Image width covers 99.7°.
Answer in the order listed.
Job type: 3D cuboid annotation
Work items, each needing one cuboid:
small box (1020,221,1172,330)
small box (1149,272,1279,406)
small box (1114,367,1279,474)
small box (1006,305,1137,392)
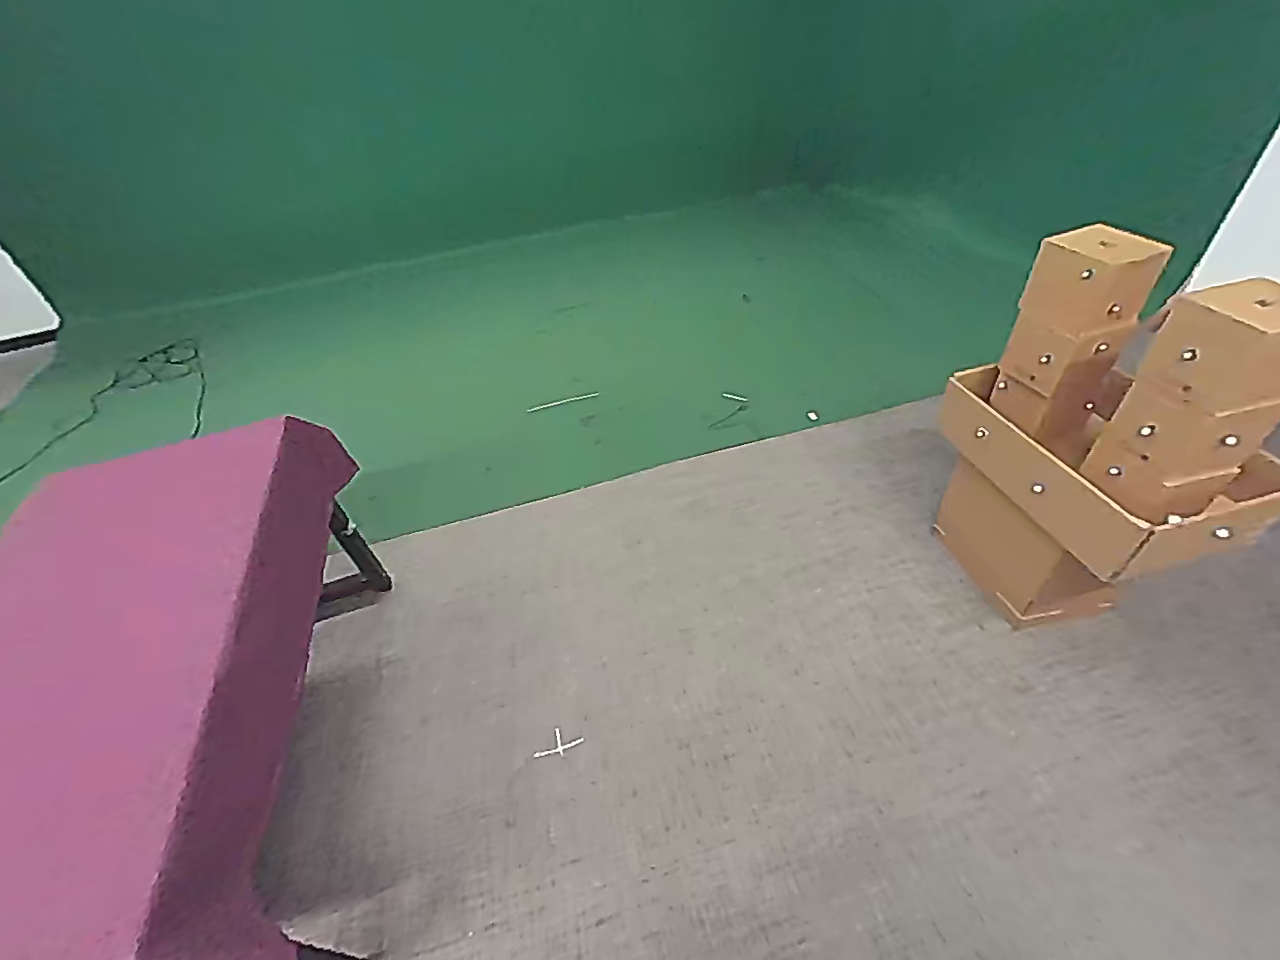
[{"bbox_3d":[1.027,-0.468,1.239,0.168,0.176,0.179,-18,45,-9],"label":"small box"},{"bbox_3d":[1.102,-0.256,0.994,0.179,0.176,0.168,-13,43,-4],"label":"small box"},{"bbox_3d":[1.126,-0.132,1.102,0.179,0.176,0.168,-13,43,-3],"label":"small box"},{"bbox_3d":[1.050,-0.341,1.339,0.179,0.176,0.168,-17,44,-9],"label":"small box"}]
